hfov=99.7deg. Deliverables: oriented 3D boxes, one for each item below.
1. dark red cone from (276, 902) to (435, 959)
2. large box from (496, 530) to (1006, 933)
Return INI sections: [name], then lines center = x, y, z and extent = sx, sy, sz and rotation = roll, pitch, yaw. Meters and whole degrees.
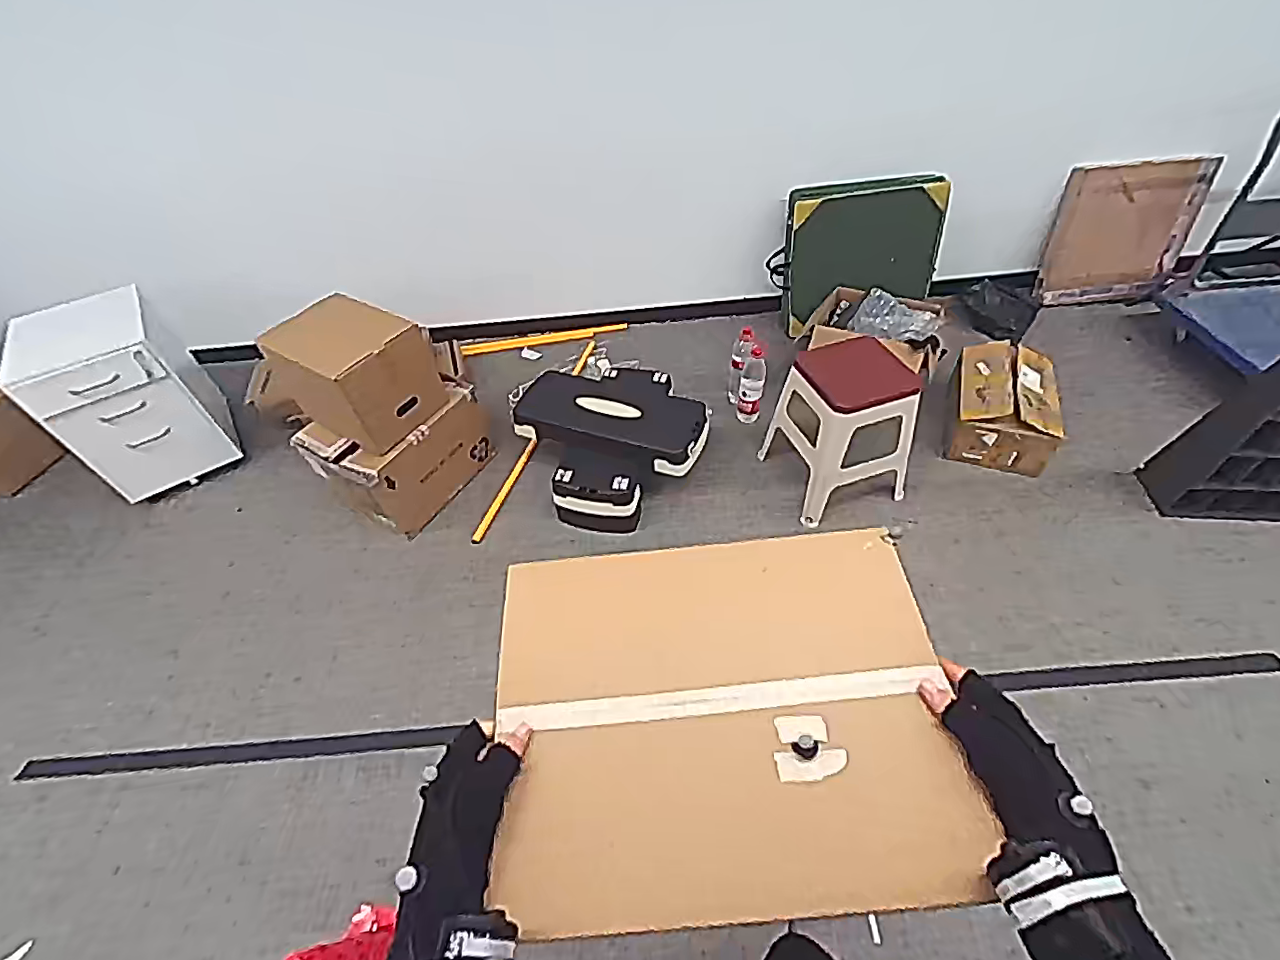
[dark red cone]
center = -0.543, 0.884, 0.982
extent = 0.201, 0.394, 0.202
rotation = 0, 48, 4
[large box]
center = 0.082, 0.286, 0.619
extent = 0.408, 0.320, 0.320
rotation = -6, 55, 1
